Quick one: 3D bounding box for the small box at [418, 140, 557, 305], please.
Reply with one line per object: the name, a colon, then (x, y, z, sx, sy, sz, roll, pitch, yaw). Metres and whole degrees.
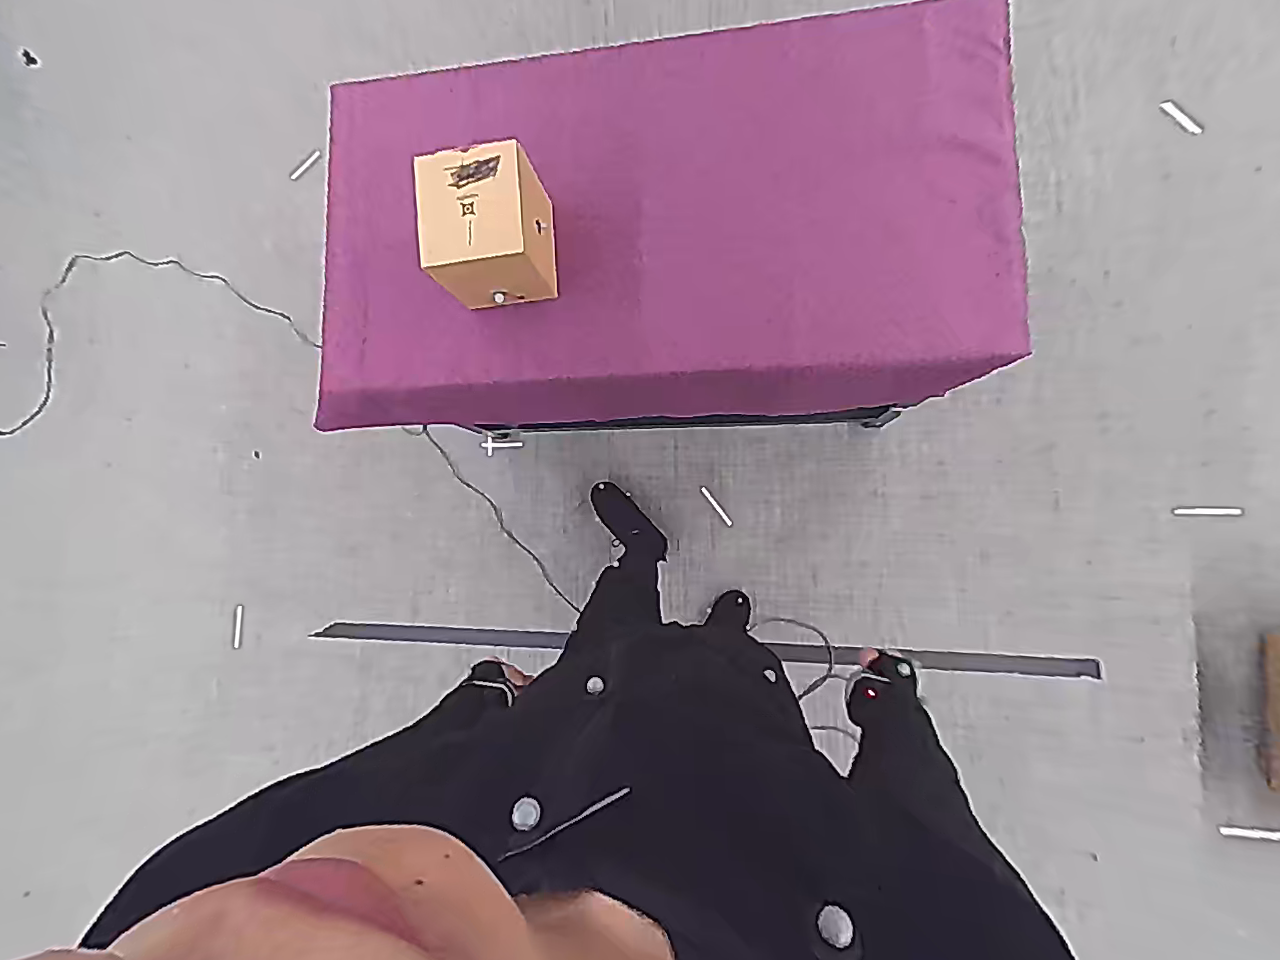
small box: (-0.242, -0.410, 0.887, 0.168, 0.176, 0.179, -5, 86, 8)
